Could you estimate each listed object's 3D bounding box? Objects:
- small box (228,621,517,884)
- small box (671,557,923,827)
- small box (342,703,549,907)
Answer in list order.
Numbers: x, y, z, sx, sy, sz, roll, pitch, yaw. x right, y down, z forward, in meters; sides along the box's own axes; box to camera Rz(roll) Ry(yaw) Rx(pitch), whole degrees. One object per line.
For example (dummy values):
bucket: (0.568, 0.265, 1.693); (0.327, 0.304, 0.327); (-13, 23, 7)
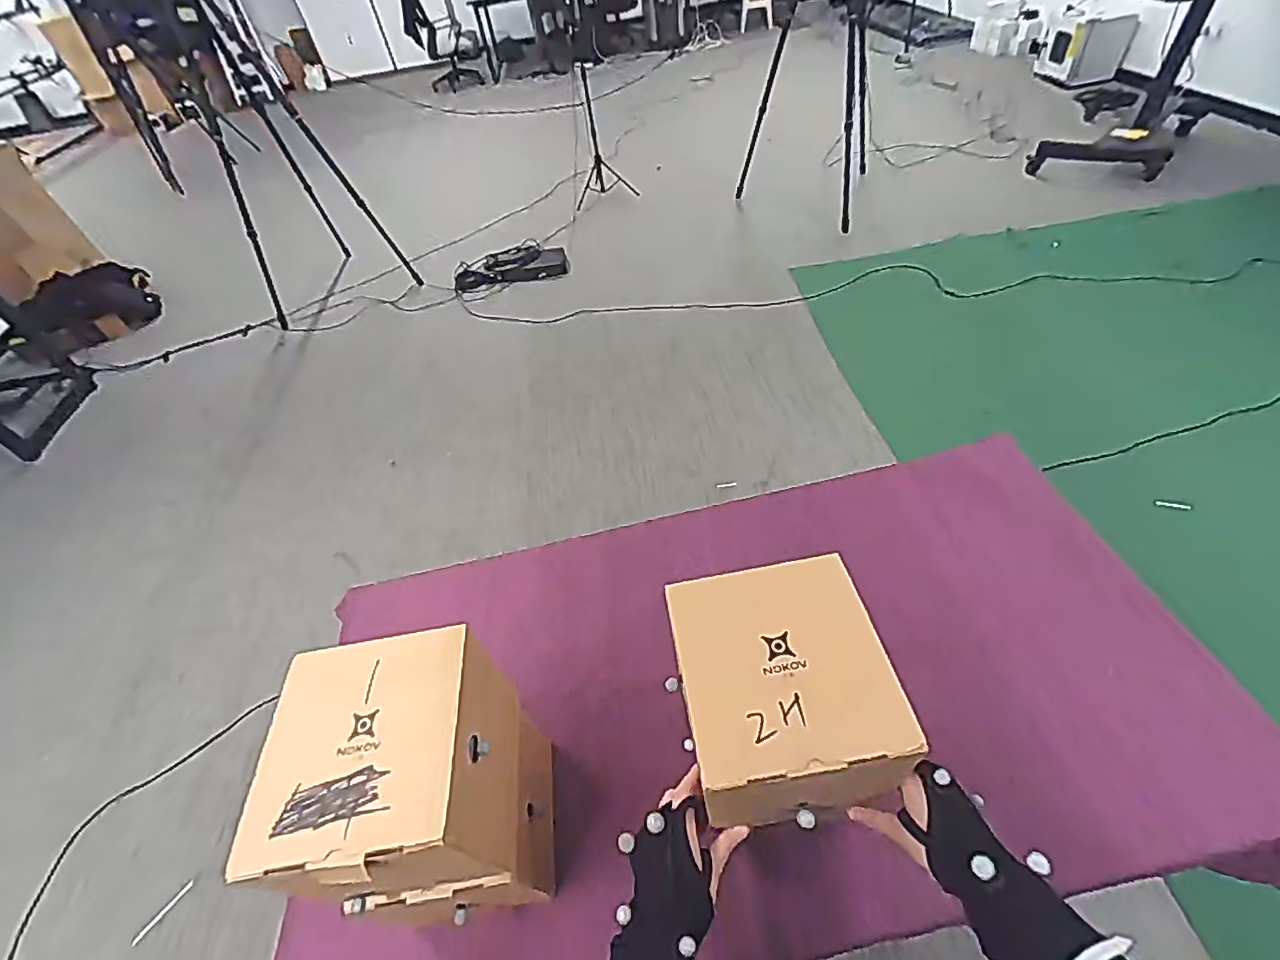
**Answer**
small box: (-0.220, 0.259, 0.506); (0.168, 0.176, 0.179); (-9, 48, 1)
small box: (0.124, 0.199, 0.504); (0.168, 0.176, 0.179); (-10, 49, 1)
small box: (-0.203, 0.373, 0.624); (0.168, 0.176, 0.179); (-9, 49, 0)
